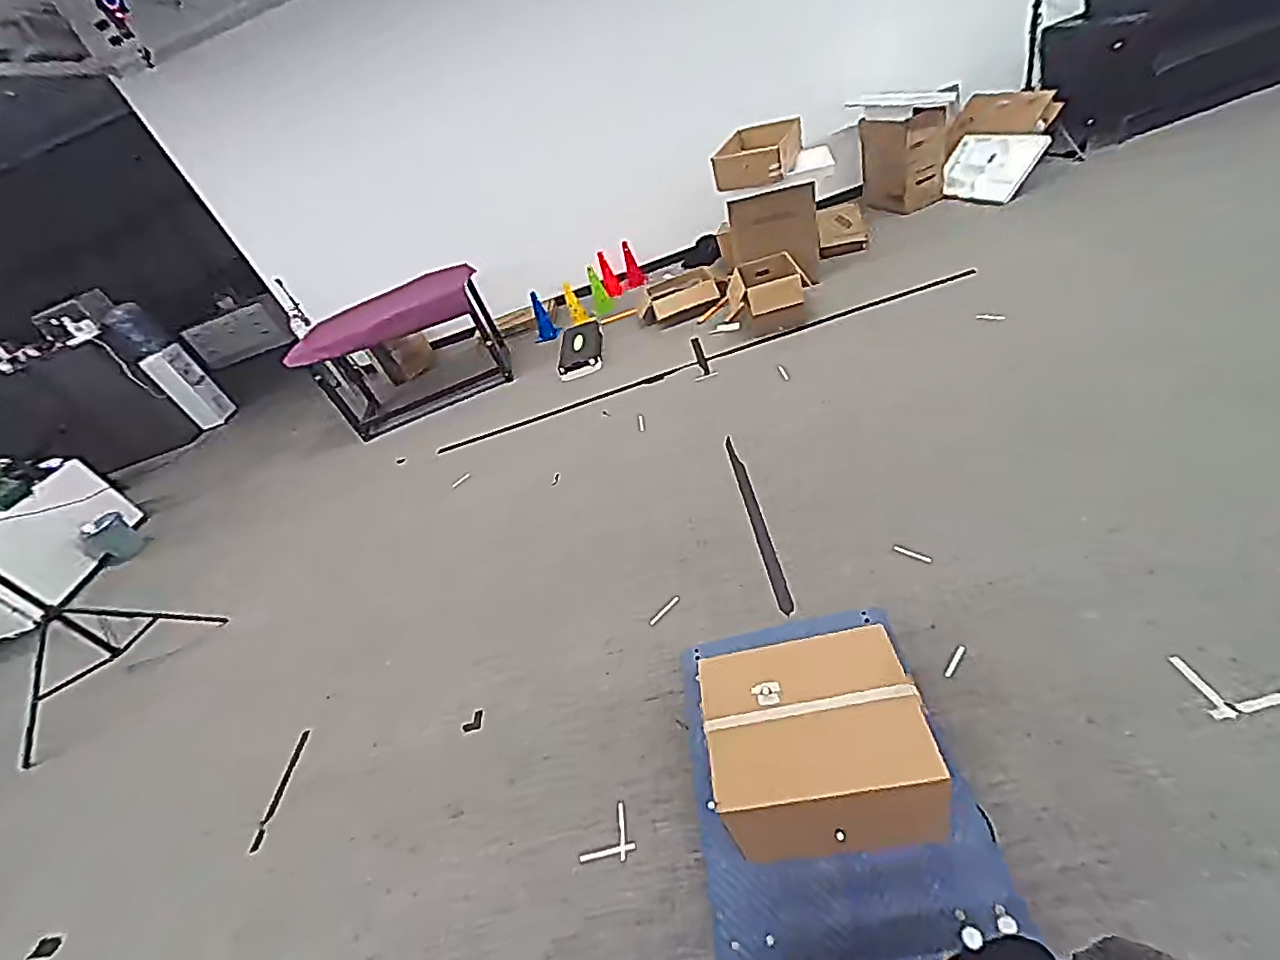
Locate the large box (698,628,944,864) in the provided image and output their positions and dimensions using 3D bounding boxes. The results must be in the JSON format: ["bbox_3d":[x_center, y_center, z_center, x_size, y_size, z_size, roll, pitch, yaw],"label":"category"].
[{"bbox_3d":[0.372,0.572,1.156,0.408,0.320,0.320,-16,36,10],"label":"large box"}]
